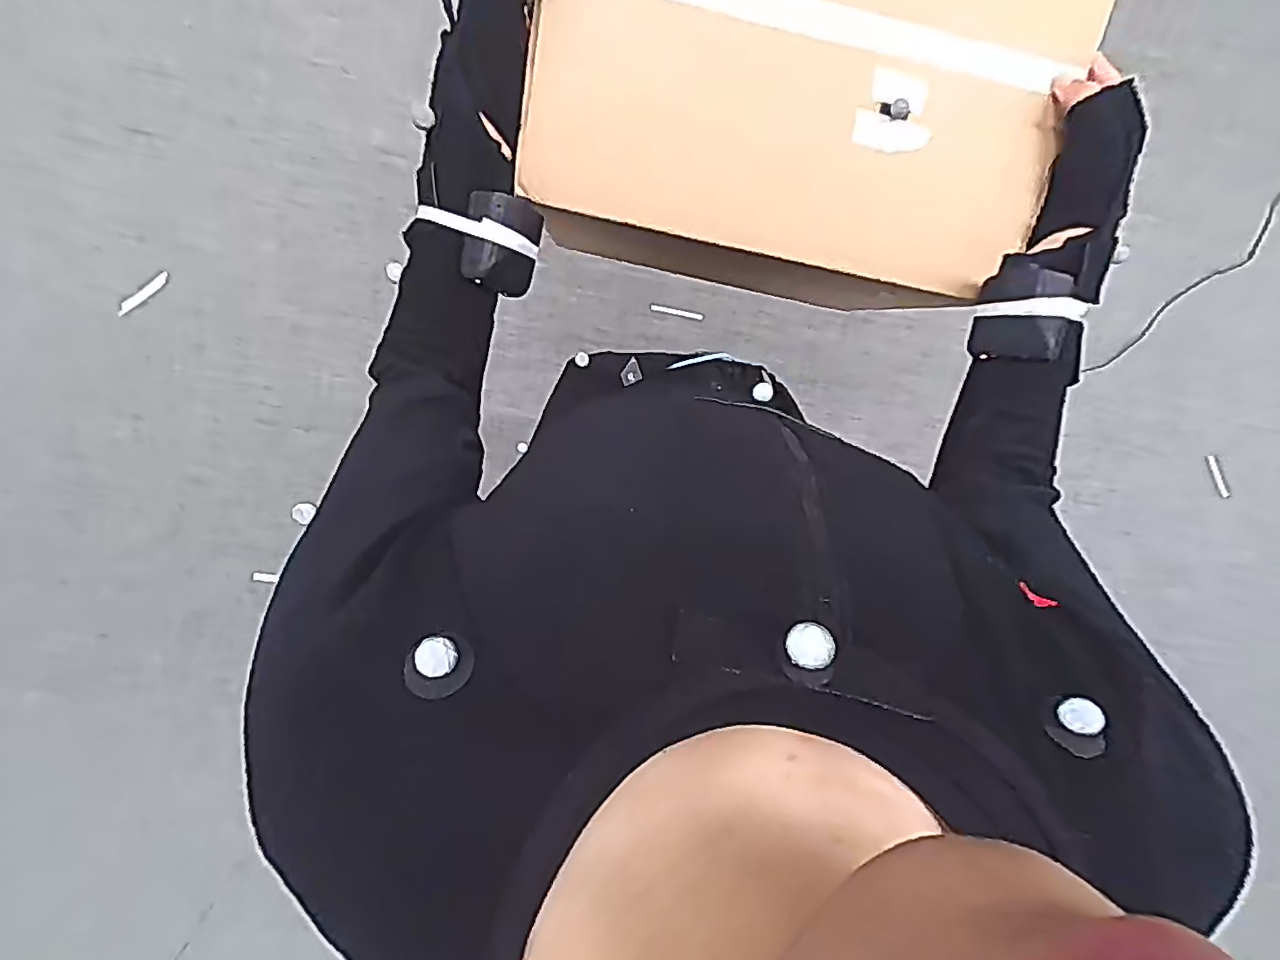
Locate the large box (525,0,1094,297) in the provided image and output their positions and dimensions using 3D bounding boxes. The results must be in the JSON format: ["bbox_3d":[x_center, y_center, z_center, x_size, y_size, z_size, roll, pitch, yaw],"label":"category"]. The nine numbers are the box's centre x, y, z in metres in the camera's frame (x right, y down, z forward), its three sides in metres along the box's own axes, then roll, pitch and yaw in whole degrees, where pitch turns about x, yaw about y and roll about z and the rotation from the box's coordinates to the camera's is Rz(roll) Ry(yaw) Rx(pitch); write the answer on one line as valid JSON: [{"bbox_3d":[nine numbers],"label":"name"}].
[{"bbox_3d":[0.120,-0.380,0.537,0.408,0.320,0.320,10,107,-7],"label":"large box"}]
